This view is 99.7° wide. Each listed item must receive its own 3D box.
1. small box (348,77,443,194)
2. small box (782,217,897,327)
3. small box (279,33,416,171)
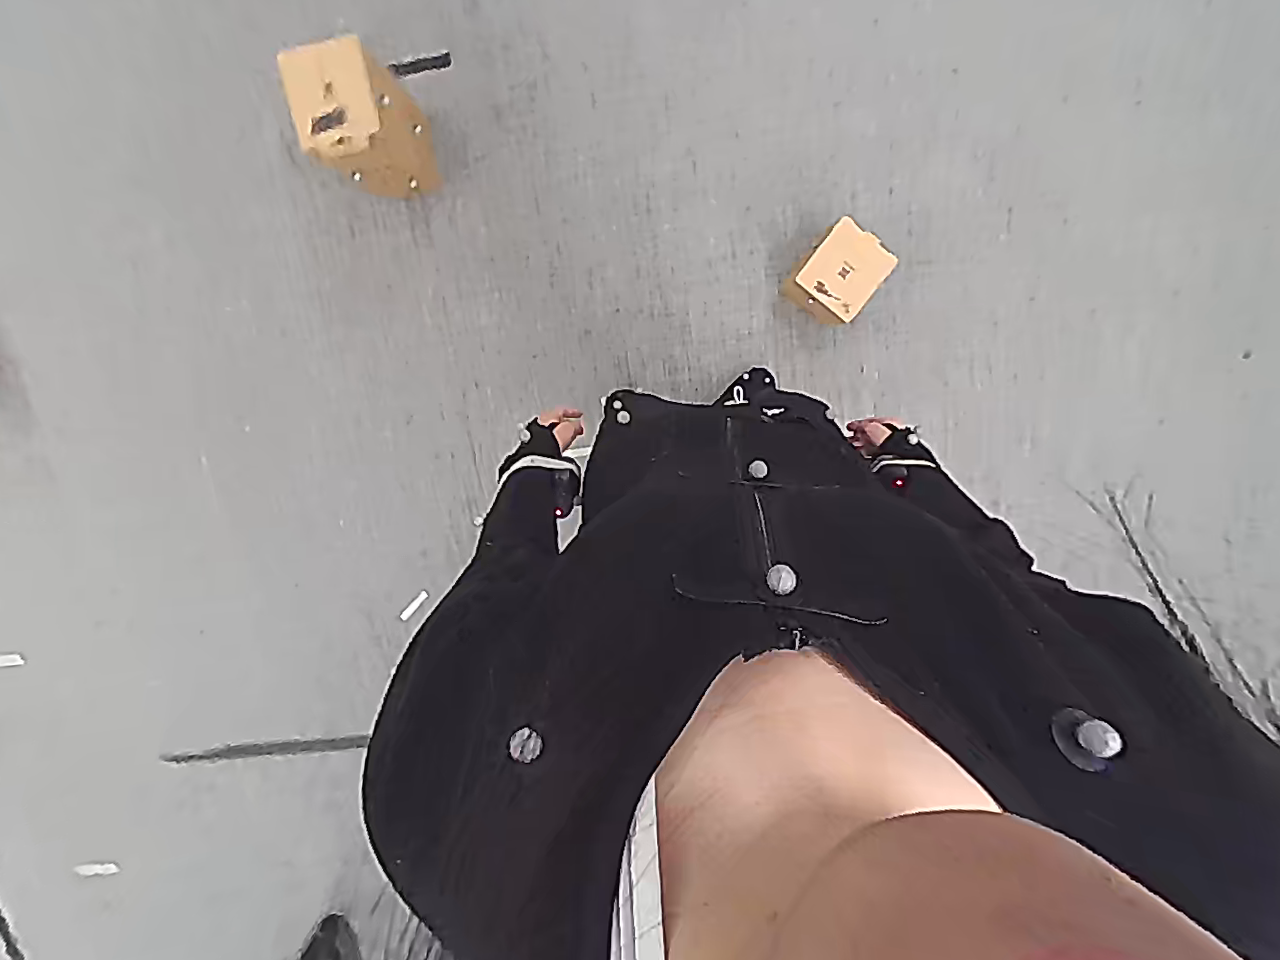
[{"bbox_3d":[-0.590,-0.798,1.278,0.168,0.176,0.179,-11,101,3],"label":"small box"},{"bbox_3d":[0.470,-0.493,1.307,0.168,0.176,0.179,37,101,-7],"label":"small box"},{"bbox_3d":[-0.589,-0.764,1.117,0.168,0.176,0.179,-10,101,3],"label":"small box"}]
